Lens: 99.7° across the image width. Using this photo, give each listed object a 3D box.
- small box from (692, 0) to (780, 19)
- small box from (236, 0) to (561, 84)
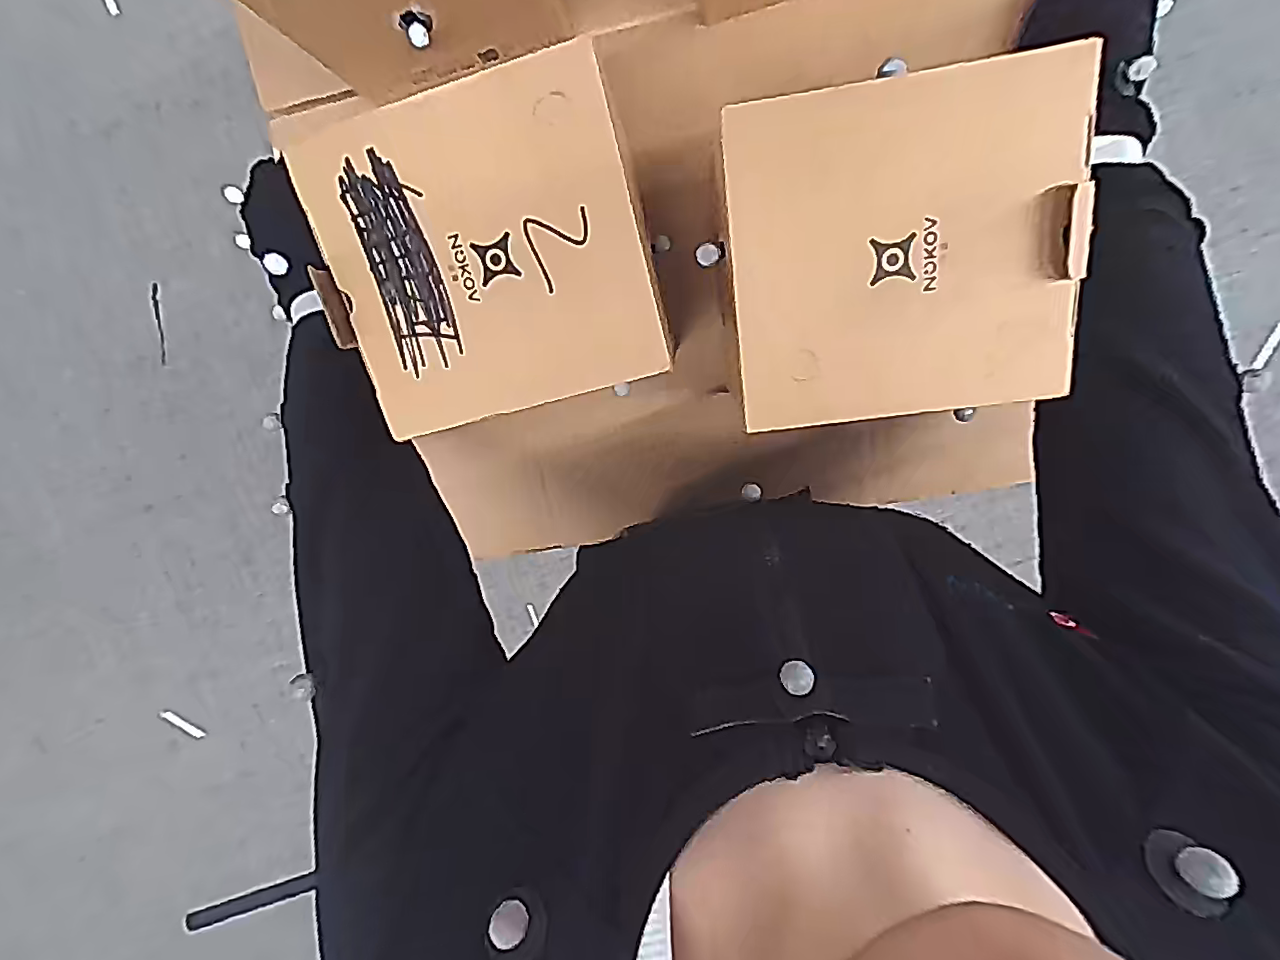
[{"bbox_3d":[0.101,-0.402,0.286,0.179,0.176,0.168,-10,103,9],"label":"small box"},{"bbox_3d":[-0.156,-0.373,0.319,0.168,0.176,0.179,-10,102,7],"label":"small box"}]
